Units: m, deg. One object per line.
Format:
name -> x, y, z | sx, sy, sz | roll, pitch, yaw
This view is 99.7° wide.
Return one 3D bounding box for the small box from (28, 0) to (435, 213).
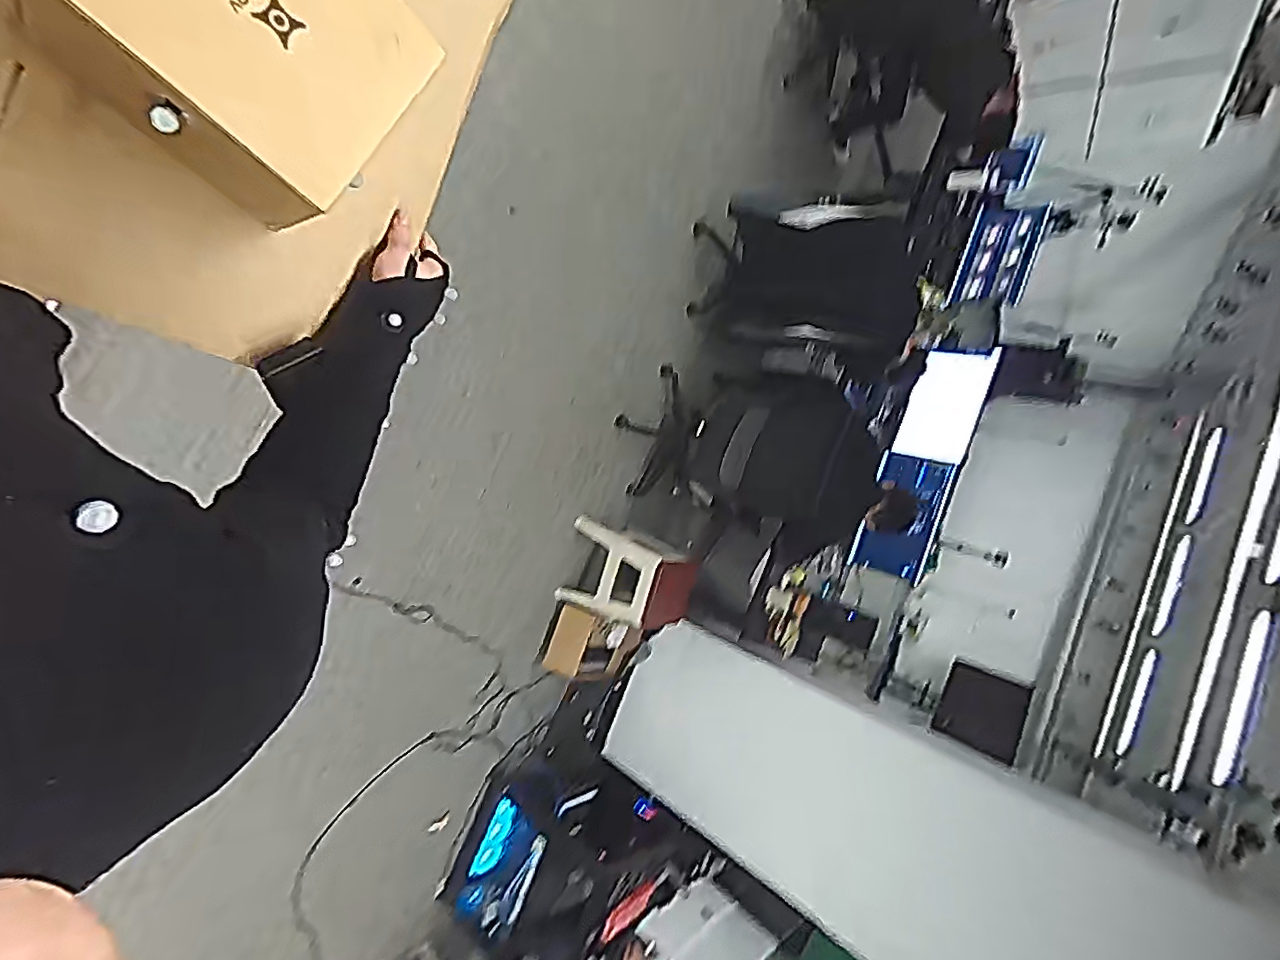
small box -> -0.302, -0.332, 0.415 | 0.179, 0.176, 0.168 | 38, 77, -44
